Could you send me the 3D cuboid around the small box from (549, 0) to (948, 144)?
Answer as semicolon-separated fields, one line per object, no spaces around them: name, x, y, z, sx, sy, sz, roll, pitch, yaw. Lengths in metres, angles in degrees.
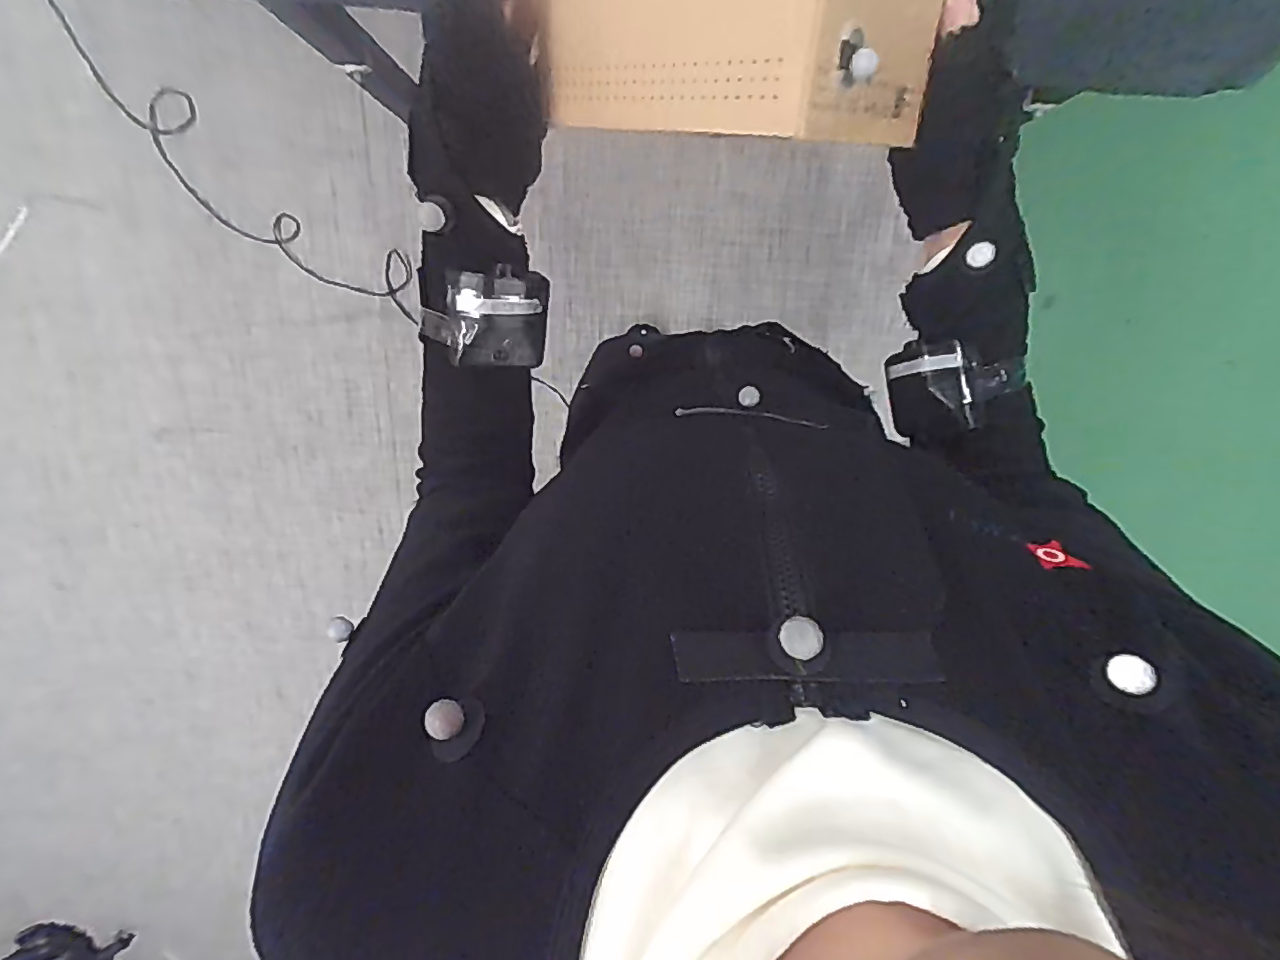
small box;0.064;-0.287;0.298;0.179;0.168;0.176;26;128;34
